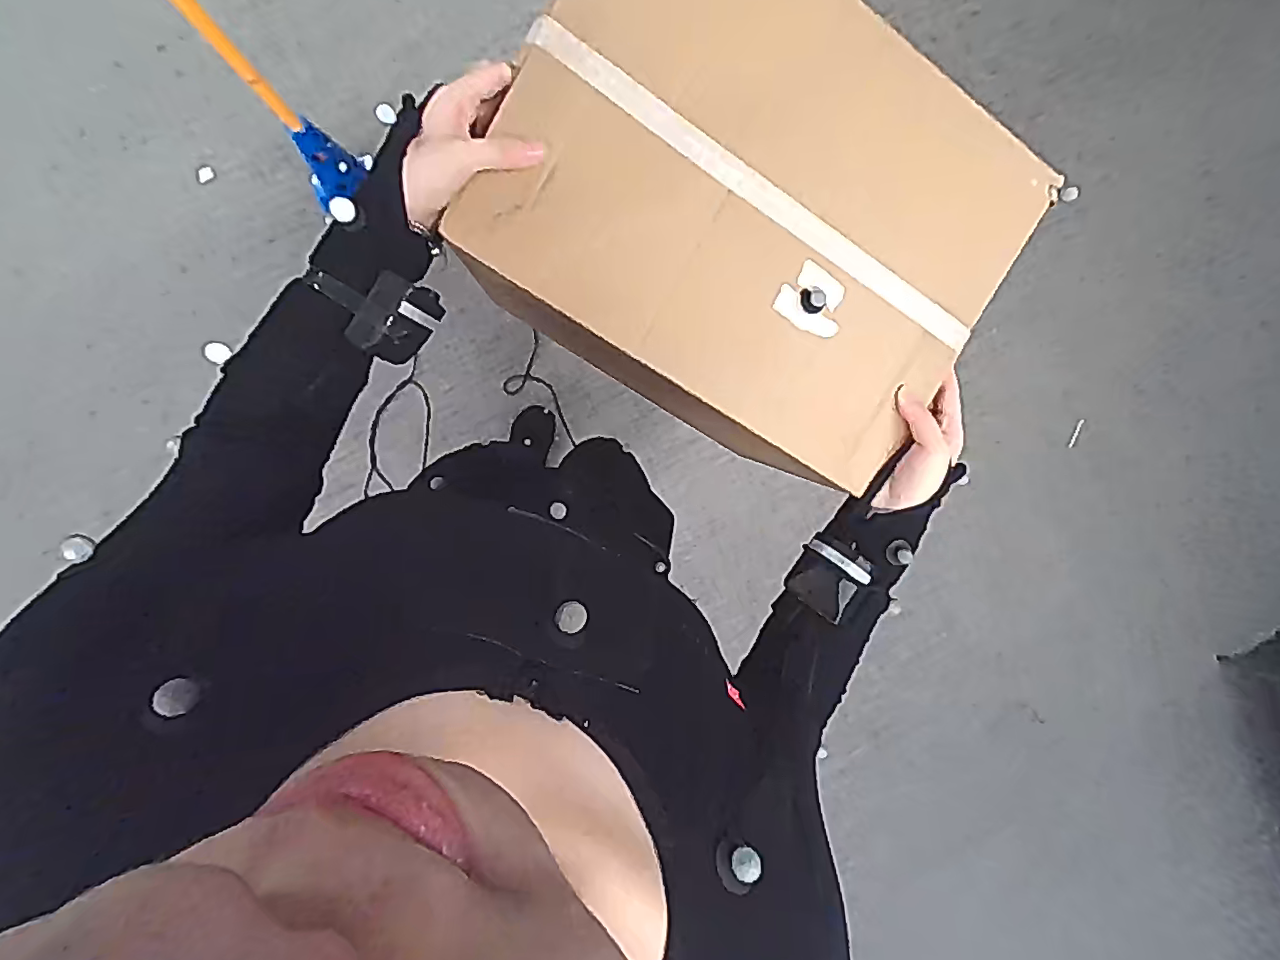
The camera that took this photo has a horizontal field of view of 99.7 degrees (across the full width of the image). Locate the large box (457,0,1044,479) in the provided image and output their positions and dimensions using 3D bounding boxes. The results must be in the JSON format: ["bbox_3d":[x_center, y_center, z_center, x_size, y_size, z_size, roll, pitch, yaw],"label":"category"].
[{"bbox_3d":[0.080,-0.247,0.573,0.408,0.320,0.320,30,94,-13],"label":"large box"}]

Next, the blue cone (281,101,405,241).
[{"bbox_3d":[-0.673,-0.690,1.185,0.193,0.380,0.192,-19,97,-7],"label":"blue cone"}]
